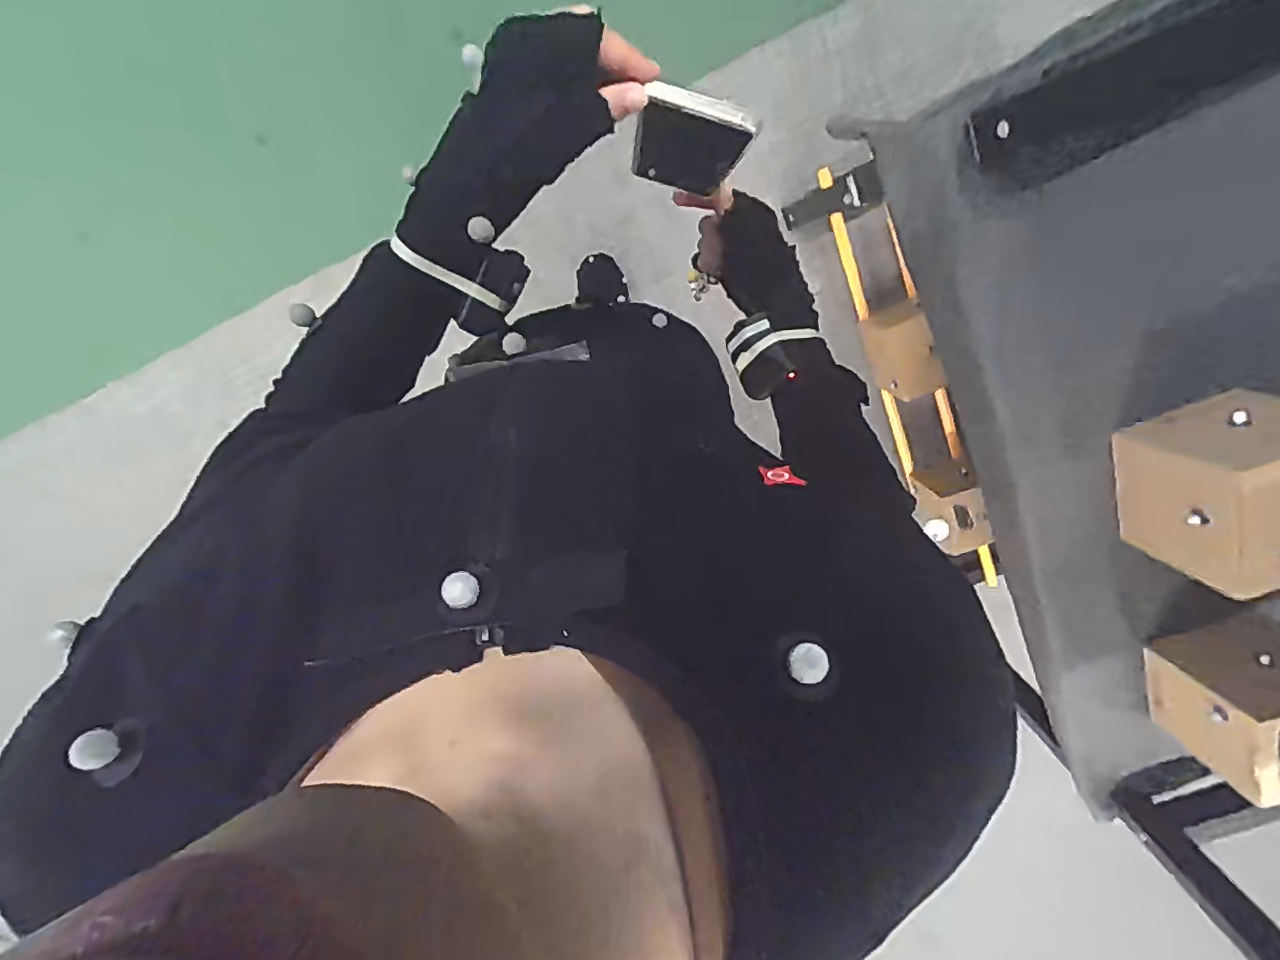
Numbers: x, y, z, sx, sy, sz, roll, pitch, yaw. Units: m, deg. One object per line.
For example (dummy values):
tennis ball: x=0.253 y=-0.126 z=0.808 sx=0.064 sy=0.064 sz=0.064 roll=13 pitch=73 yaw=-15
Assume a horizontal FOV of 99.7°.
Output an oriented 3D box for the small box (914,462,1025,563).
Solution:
small box: x=0.810 y=0.076 z=1.349 sx=0.179 sy=0.176 sz=0.168 roll=-20 pitch=109 yaw=6

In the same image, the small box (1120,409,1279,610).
small box: x=0.744 y=0.023 z=0.667 sx=0.168 sy=0.176 sz=0.179 roll=-20 pitch=109 yaw=6
